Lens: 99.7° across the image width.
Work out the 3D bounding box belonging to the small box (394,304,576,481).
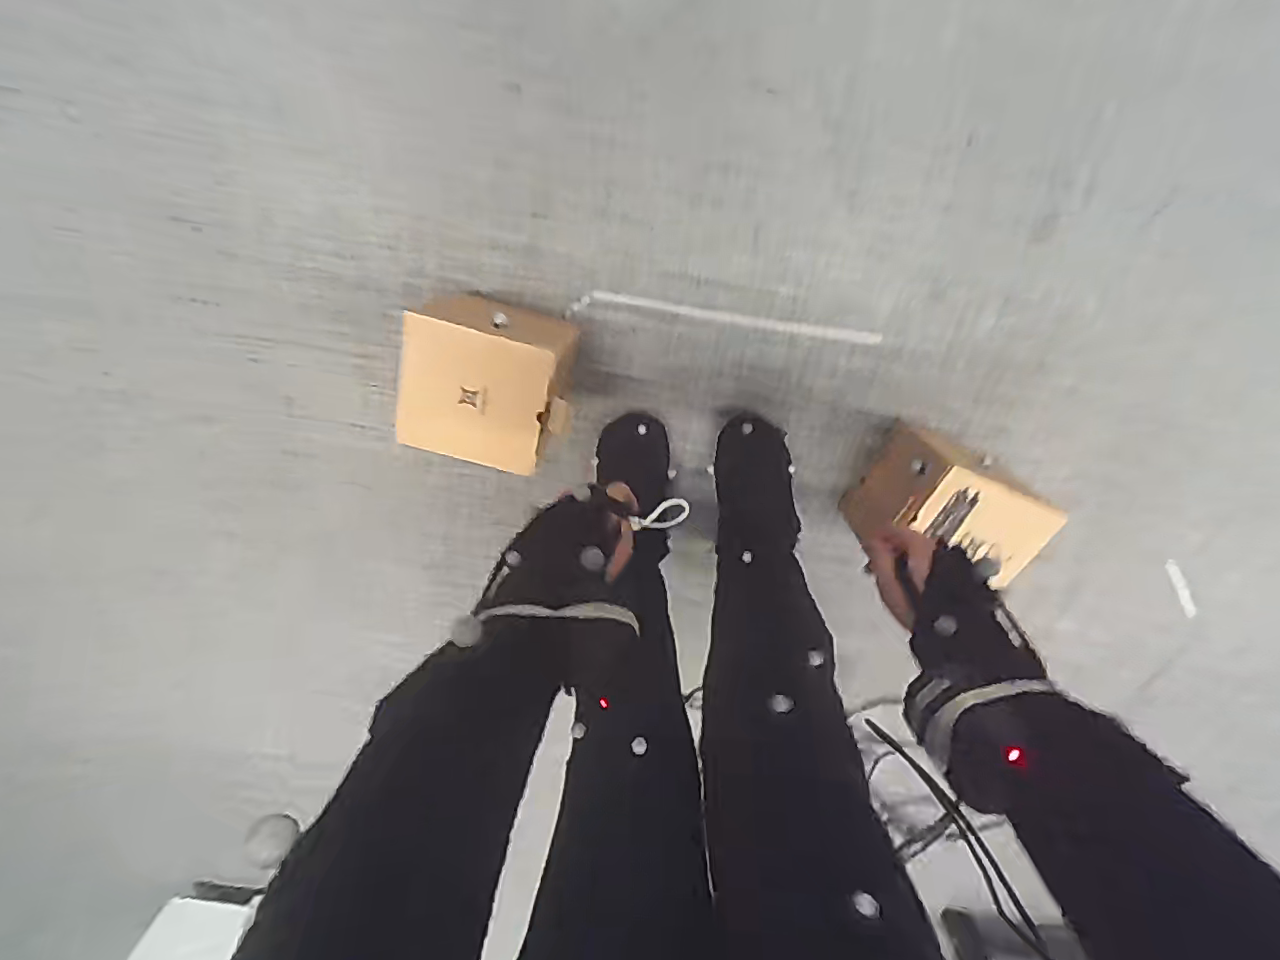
[{"bbox_3d":[-0.194,-0.124,0.709,0.179,0.176,0.168,15,115,-5],"label":"small box"}]
